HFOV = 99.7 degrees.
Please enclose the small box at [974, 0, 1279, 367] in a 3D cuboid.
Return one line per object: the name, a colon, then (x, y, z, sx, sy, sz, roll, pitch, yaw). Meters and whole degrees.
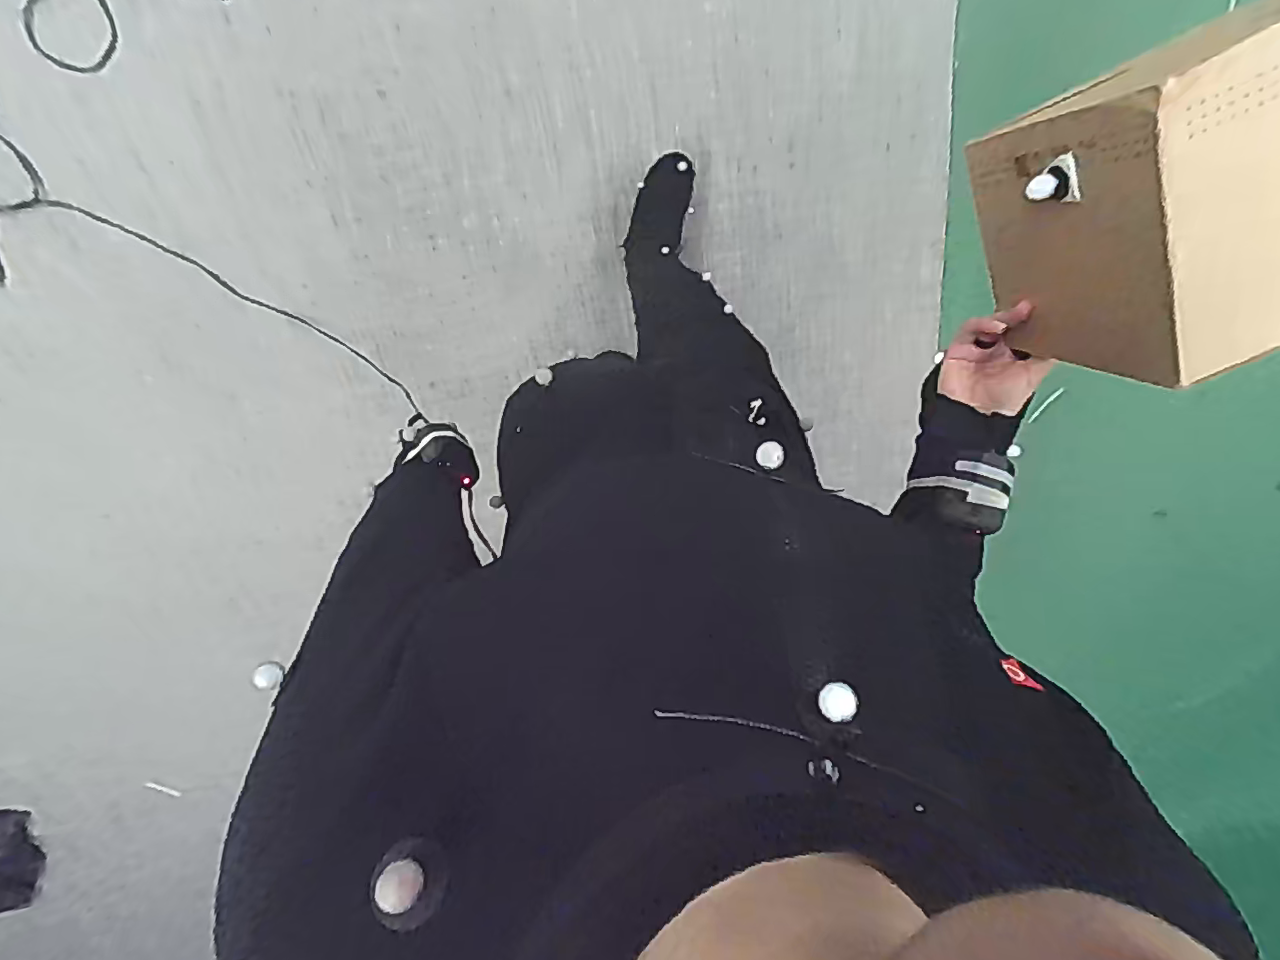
small box: (0.348, -0.196, 0.330, 0.179, 0.168, 0.176, -24, 110, 10)
